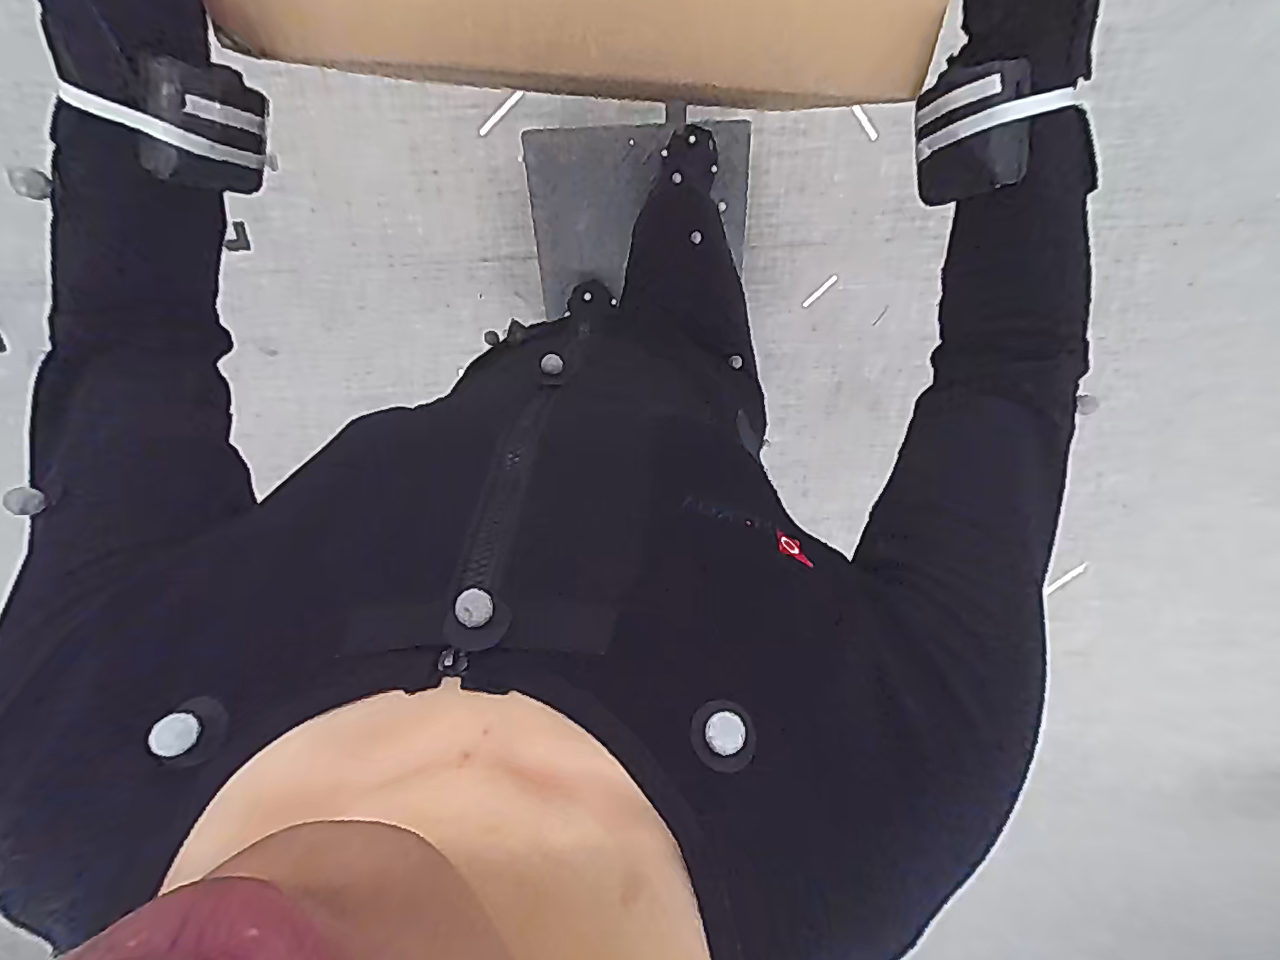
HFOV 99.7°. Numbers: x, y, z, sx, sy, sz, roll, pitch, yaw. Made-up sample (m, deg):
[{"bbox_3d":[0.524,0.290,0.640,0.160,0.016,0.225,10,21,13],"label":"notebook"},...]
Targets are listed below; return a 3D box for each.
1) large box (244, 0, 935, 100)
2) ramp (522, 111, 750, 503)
[{"bbox_3d":[-0.026,-0.460,0.367,0.408,0.320,0.320,2,124,-2],"label":"large box"},{"bbox_3d":[0.016,-0.356,1.419,0.509,0.206,0.991,-5,114,0],"label":"ramp"}]
